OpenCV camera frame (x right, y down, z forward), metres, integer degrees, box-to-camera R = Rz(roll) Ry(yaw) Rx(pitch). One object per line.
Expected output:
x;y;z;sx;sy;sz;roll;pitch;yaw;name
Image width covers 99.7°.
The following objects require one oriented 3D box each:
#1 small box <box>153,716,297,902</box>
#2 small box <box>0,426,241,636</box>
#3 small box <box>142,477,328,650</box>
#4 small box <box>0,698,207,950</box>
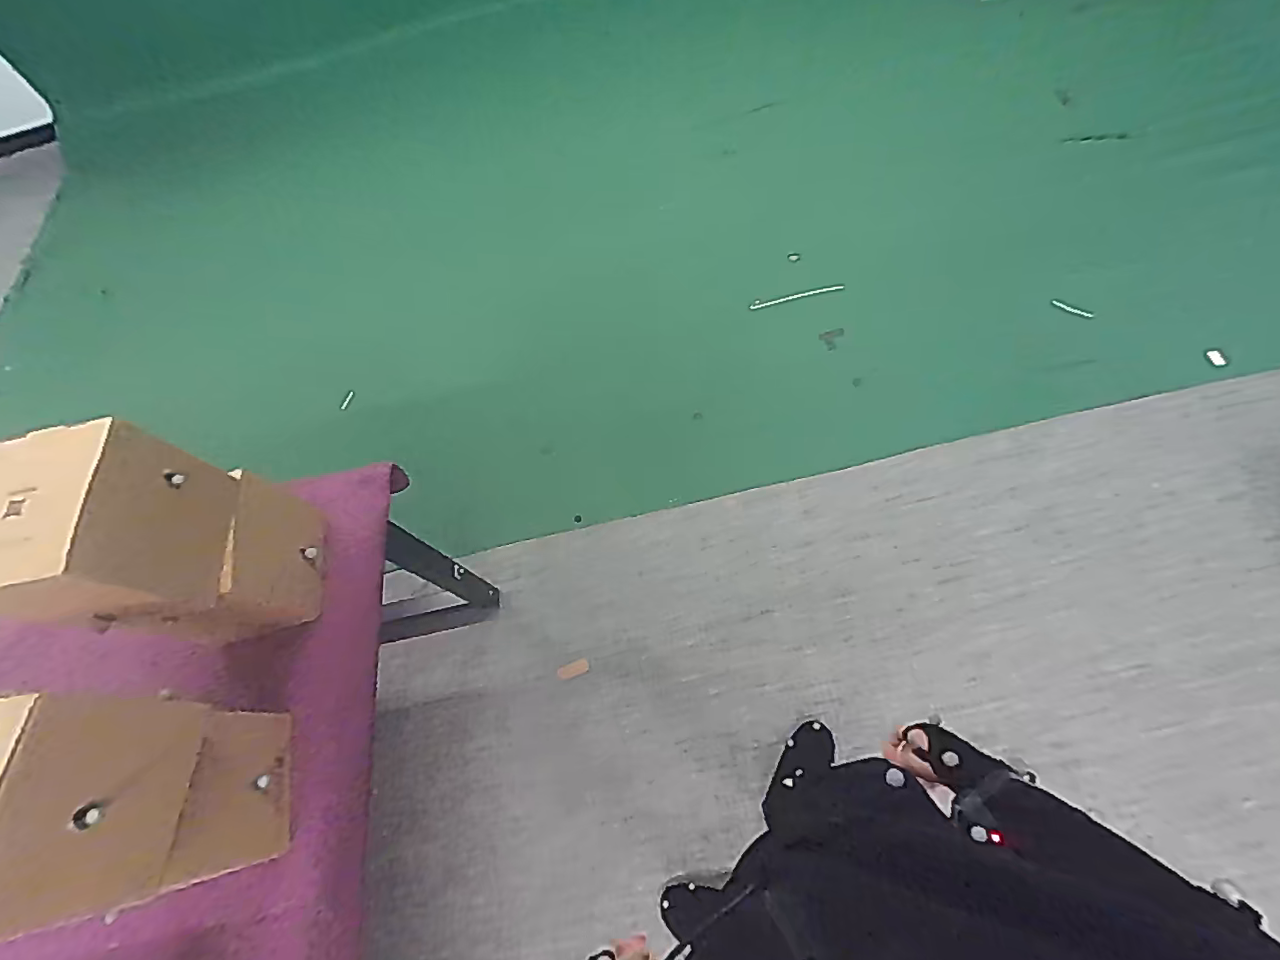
-0.544;0.389;0.633;0.179;0.176;0.168;-18;63;1;small box
-0.602;0.066;0.614;0.168;0.176;0.179;-11;64;5;small box
-0.571;0.124;0.765;0.168;0.176;0.179;-16;63;2;small box
-0.552;0.300;0.492;0.168;0.176;0.179;-6;65;9;small box
